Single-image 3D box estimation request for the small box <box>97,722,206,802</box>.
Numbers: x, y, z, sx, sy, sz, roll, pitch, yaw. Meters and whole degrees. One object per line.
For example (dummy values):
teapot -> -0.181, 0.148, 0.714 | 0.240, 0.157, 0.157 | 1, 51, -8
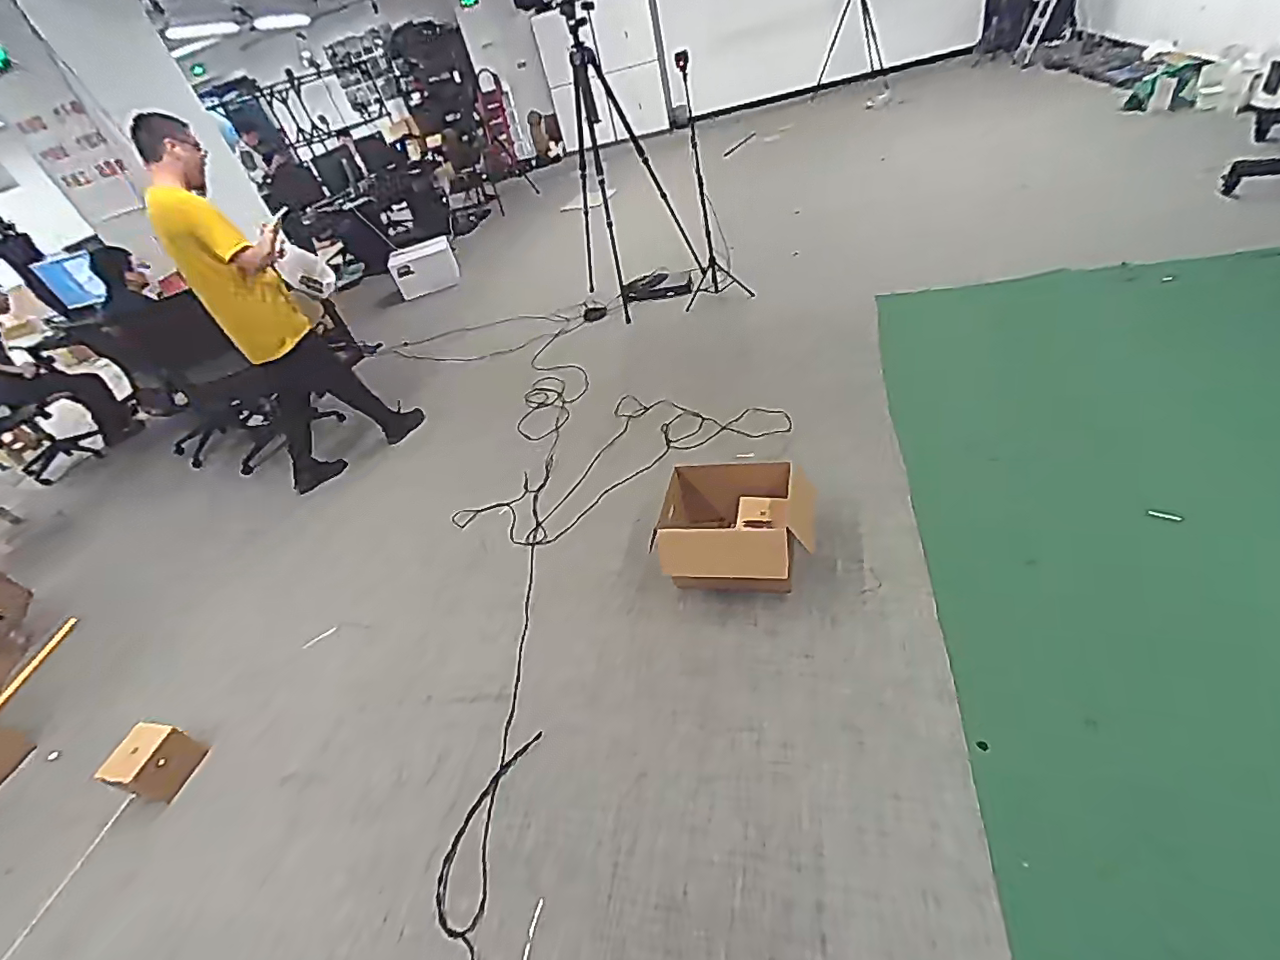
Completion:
small box -> -1.575, 0.918, 1.763 | 0.168, 0.176, 0.179 | -3, 43, 16
